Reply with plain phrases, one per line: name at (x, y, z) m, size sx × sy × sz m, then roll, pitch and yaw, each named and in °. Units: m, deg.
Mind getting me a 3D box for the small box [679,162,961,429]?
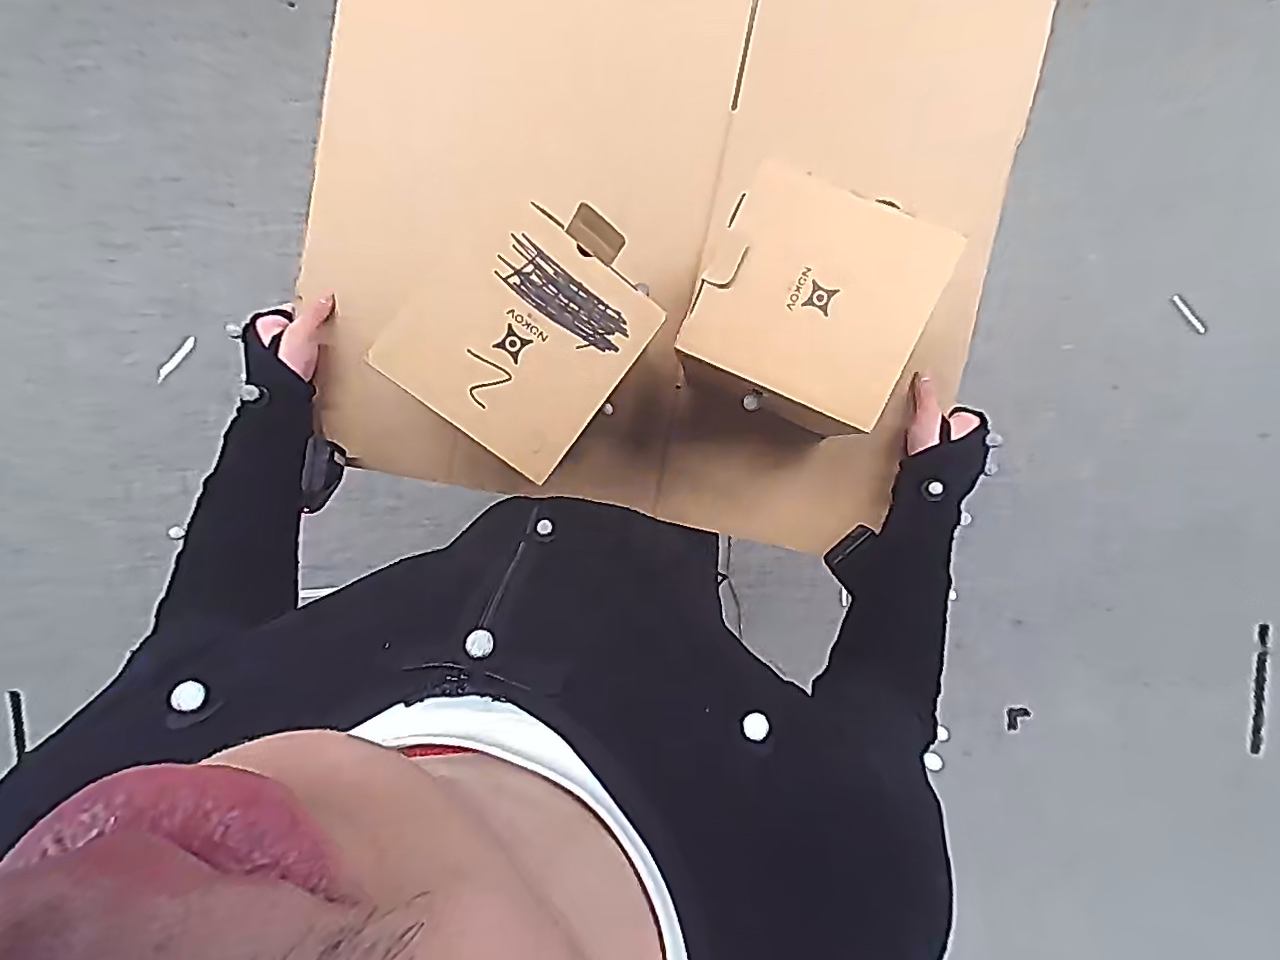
small box at (0.156, -0.158, 0.522) m, size 0.179 × 0.176 × 0.168 m, roll 25°, pitch 97°, yaw 7°
